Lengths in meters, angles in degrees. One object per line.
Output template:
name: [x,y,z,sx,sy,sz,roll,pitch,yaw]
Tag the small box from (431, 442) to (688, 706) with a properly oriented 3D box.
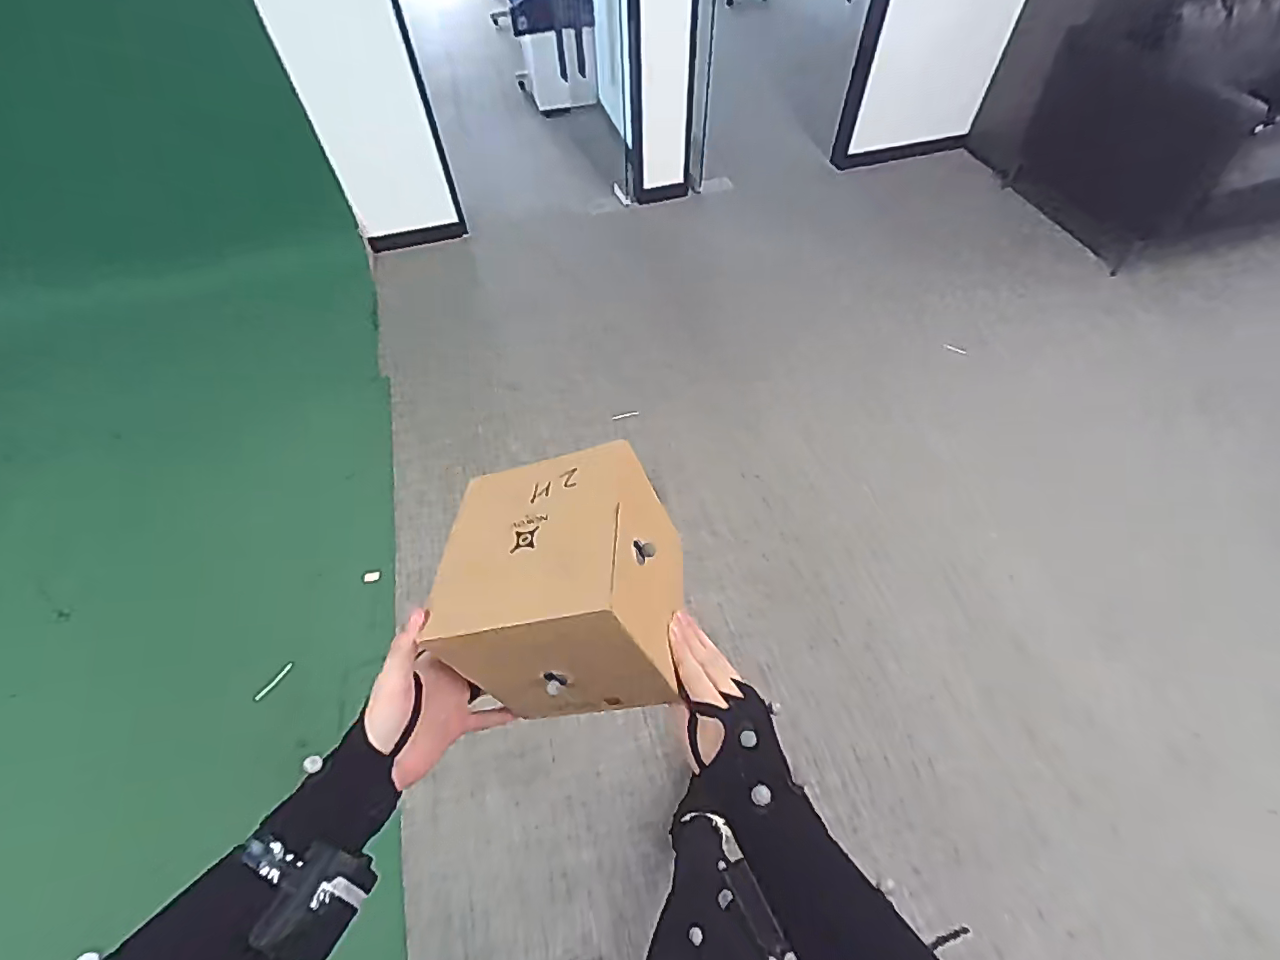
small box: [-0.055,0.097,0.507,0.168,0.176,0.179,-13,43,16]
